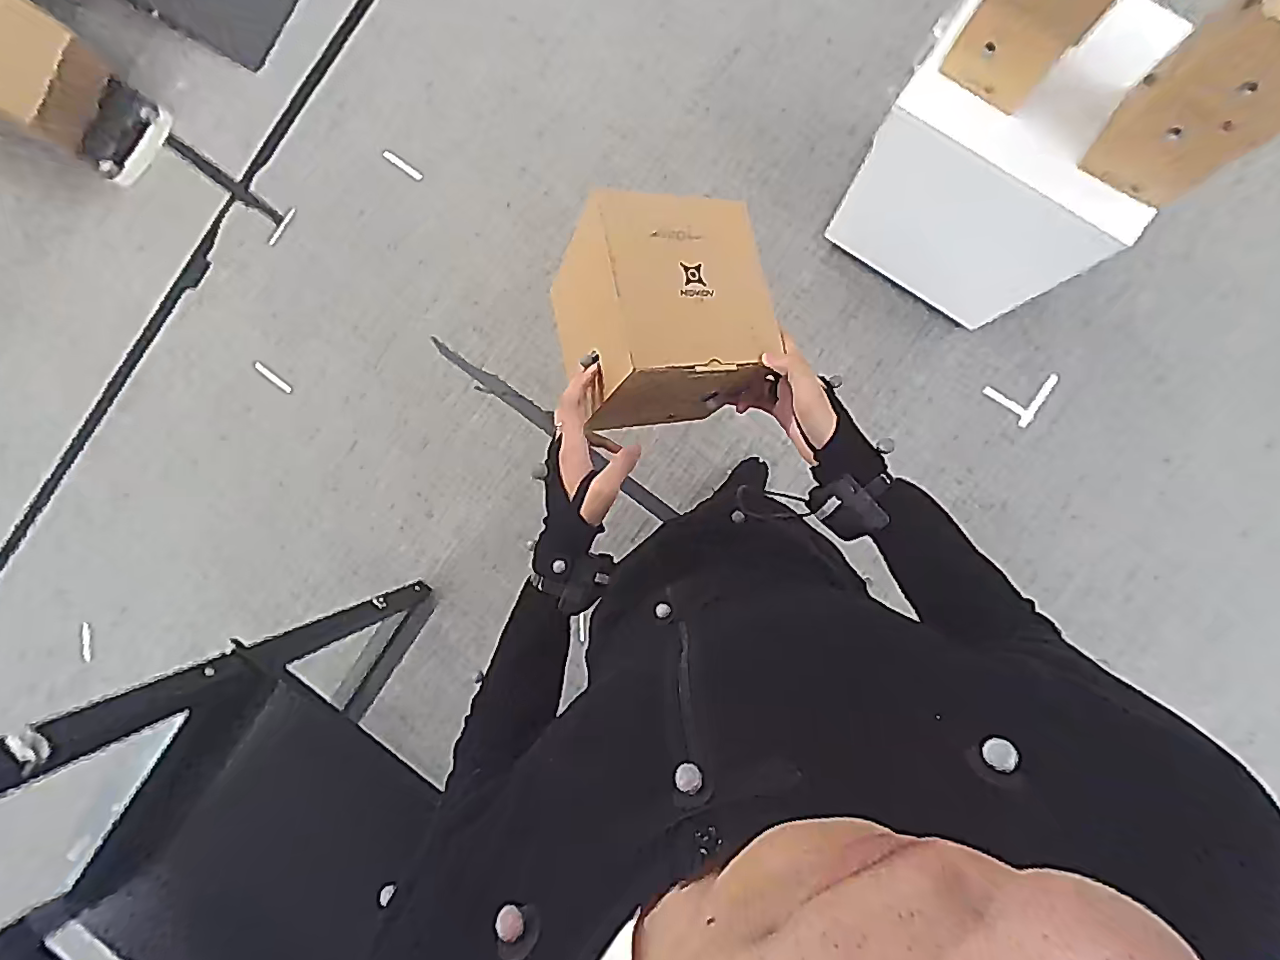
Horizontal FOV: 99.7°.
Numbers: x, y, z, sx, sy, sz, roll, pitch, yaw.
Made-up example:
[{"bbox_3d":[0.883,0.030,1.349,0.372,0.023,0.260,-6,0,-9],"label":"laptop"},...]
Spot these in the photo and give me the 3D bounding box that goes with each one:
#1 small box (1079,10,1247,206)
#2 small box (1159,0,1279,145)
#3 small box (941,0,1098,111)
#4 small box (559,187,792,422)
[{"bbox_3d":[0.906,-0.613,0.912,0.168,0.176,0.179,33,92,6],"label":"small box"},{"bbox_3d":[0.892,-0.616,0.748,0.168,0.176,0.179,34,92,5],"label":"small box"},{"bbox_3d":[0.661,-0.799,0.937,0.168,0.176,0.179,36,92,4],"label":"small box"},{"bbox_3d":[0.026,-0.167,0.568,0.168,0.176,0.179,-8,80,-26],"label":"small box"}]
